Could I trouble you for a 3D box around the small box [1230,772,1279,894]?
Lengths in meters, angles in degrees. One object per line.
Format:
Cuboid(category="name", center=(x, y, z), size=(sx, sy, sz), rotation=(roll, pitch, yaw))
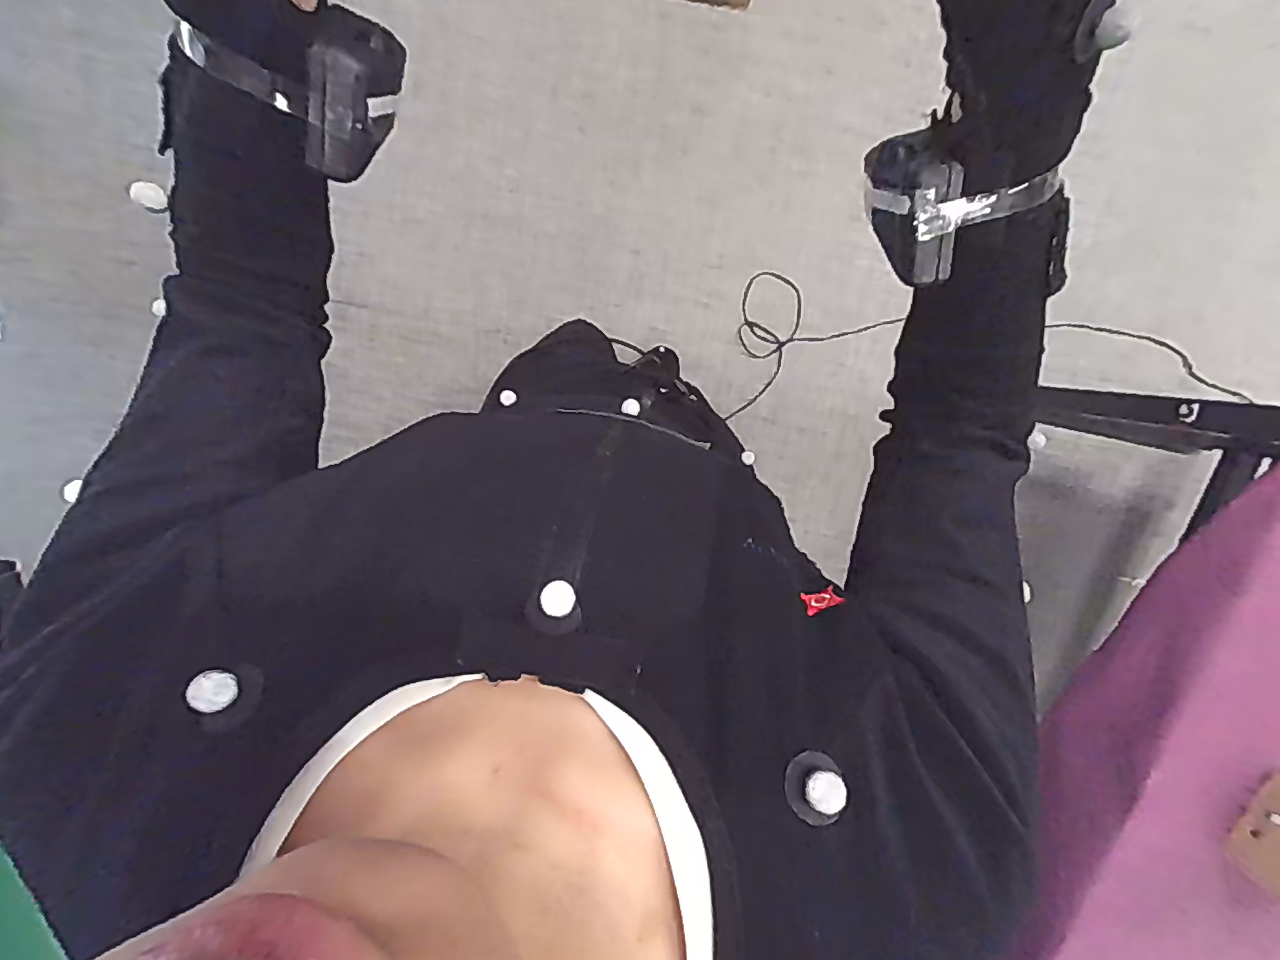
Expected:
Cuboid(category="small box", center=(0.996, 0.529, 0.731), size=(0.179, 0.176, 0.168), rotation=(16, 102, -1))
